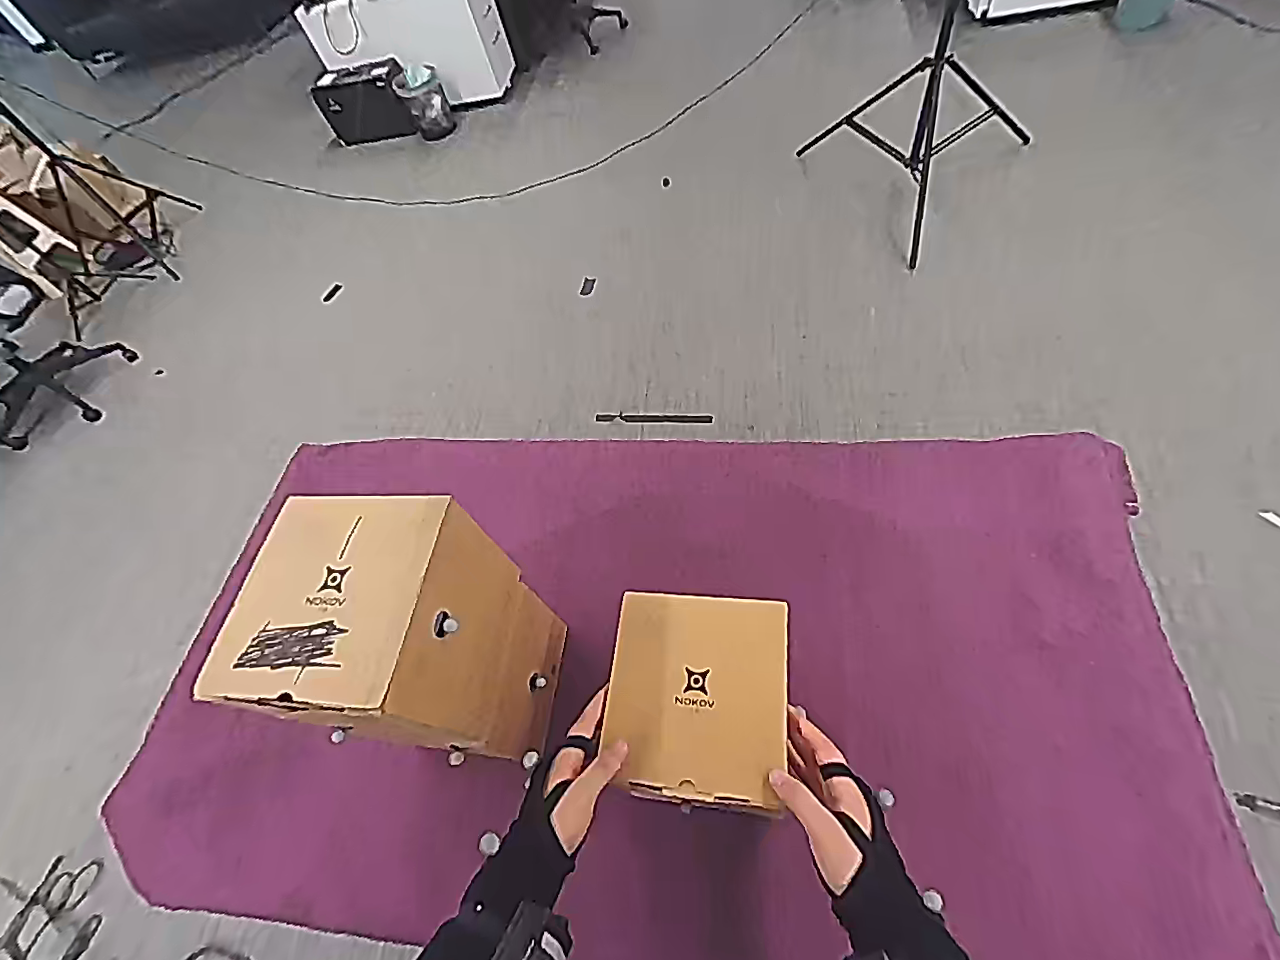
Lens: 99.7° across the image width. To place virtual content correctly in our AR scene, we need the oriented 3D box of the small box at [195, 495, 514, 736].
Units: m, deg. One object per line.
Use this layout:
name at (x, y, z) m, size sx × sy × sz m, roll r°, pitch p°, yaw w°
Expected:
small box at (-0.234, 0.129, 0.499) m, size 0.168 × 0.176 × 0.179 m, roll -1°, pitch 58°, yaw 12°

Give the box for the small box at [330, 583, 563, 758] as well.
small box at (-0.204, 0.221, 0.632) m, size 0.179 × 0.176 × 0.168 m, roll 0°, pitch 58°, yaw 13°
